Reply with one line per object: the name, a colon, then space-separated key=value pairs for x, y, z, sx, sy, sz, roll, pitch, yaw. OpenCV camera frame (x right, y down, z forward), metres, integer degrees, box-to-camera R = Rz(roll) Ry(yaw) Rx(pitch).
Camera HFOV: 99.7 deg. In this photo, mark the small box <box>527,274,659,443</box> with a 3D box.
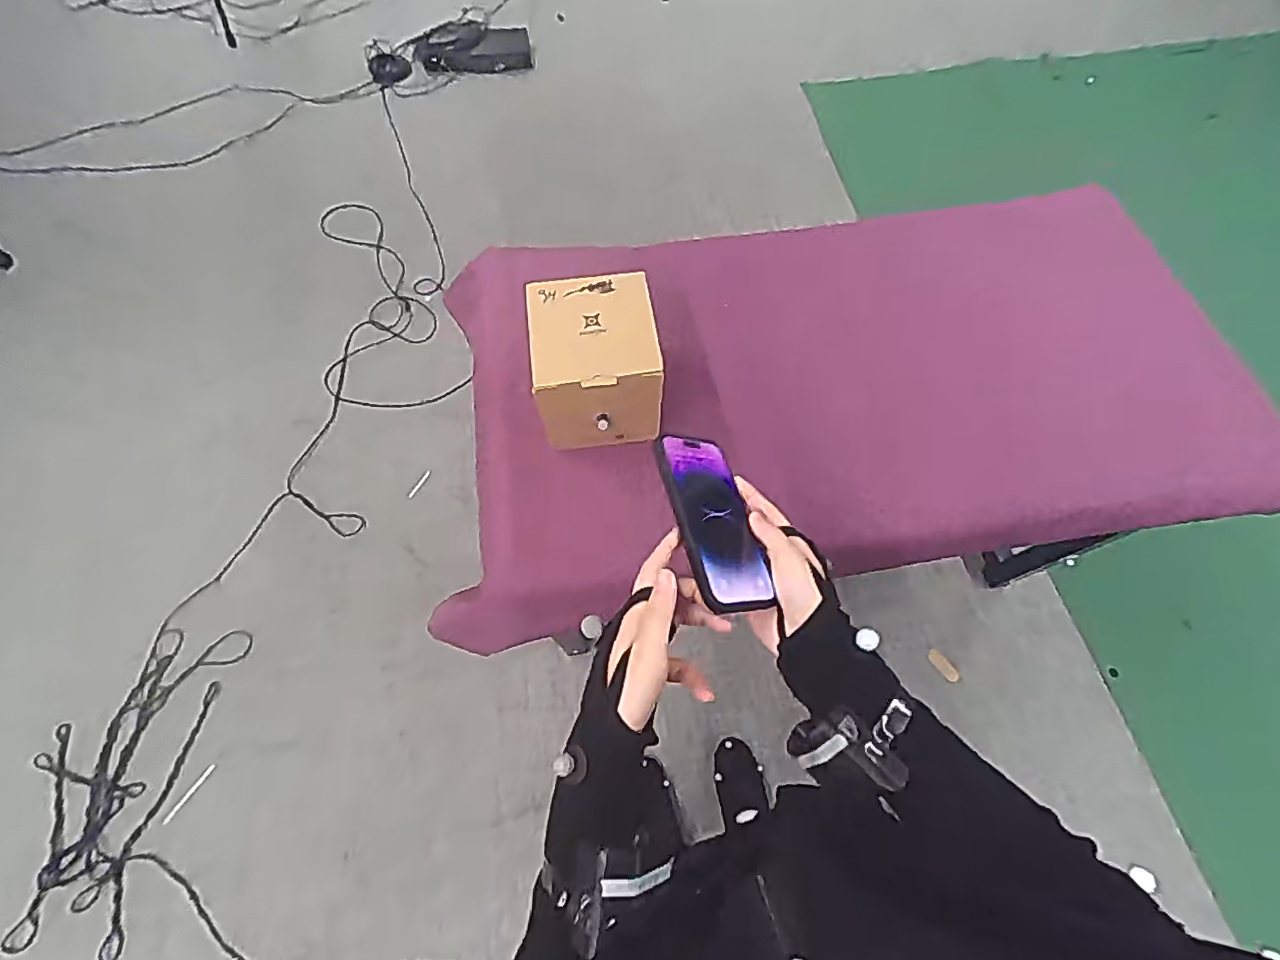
small box: x=-0.063 y=-0.164 z=0.779 sx=0.168 sy=0.176 sz=0.179 roll=-7 pitch=65 yaw=-3
